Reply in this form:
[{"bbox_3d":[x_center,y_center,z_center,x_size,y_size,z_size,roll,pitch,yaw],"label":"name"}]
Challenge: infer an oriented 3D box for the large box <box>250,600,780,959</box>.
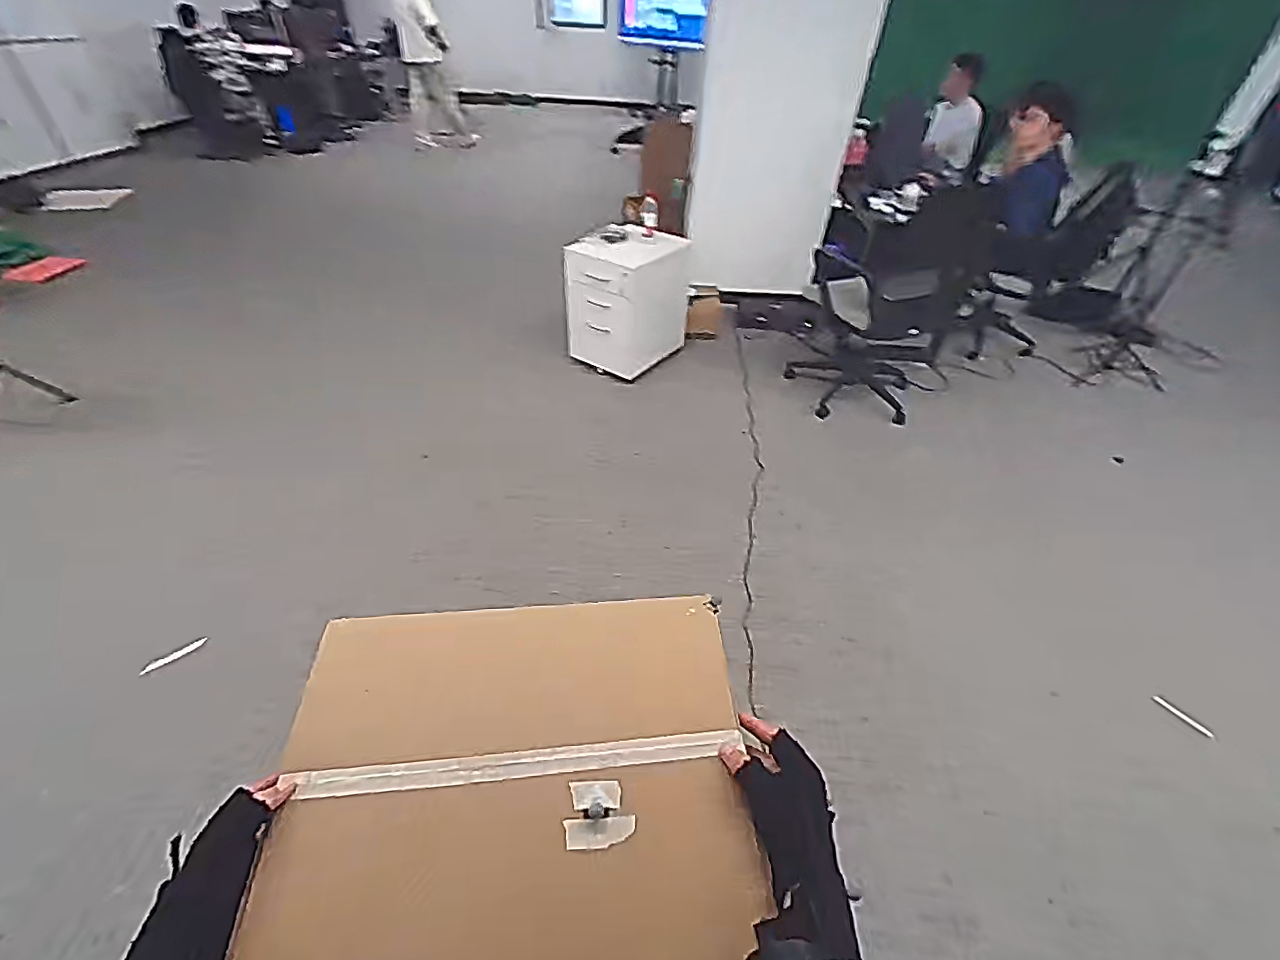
[{"bbox_3d":[-0.111,0.357,0.604,0.408,0.320,0.320,-1,48,-7],"label":"large box"}]
